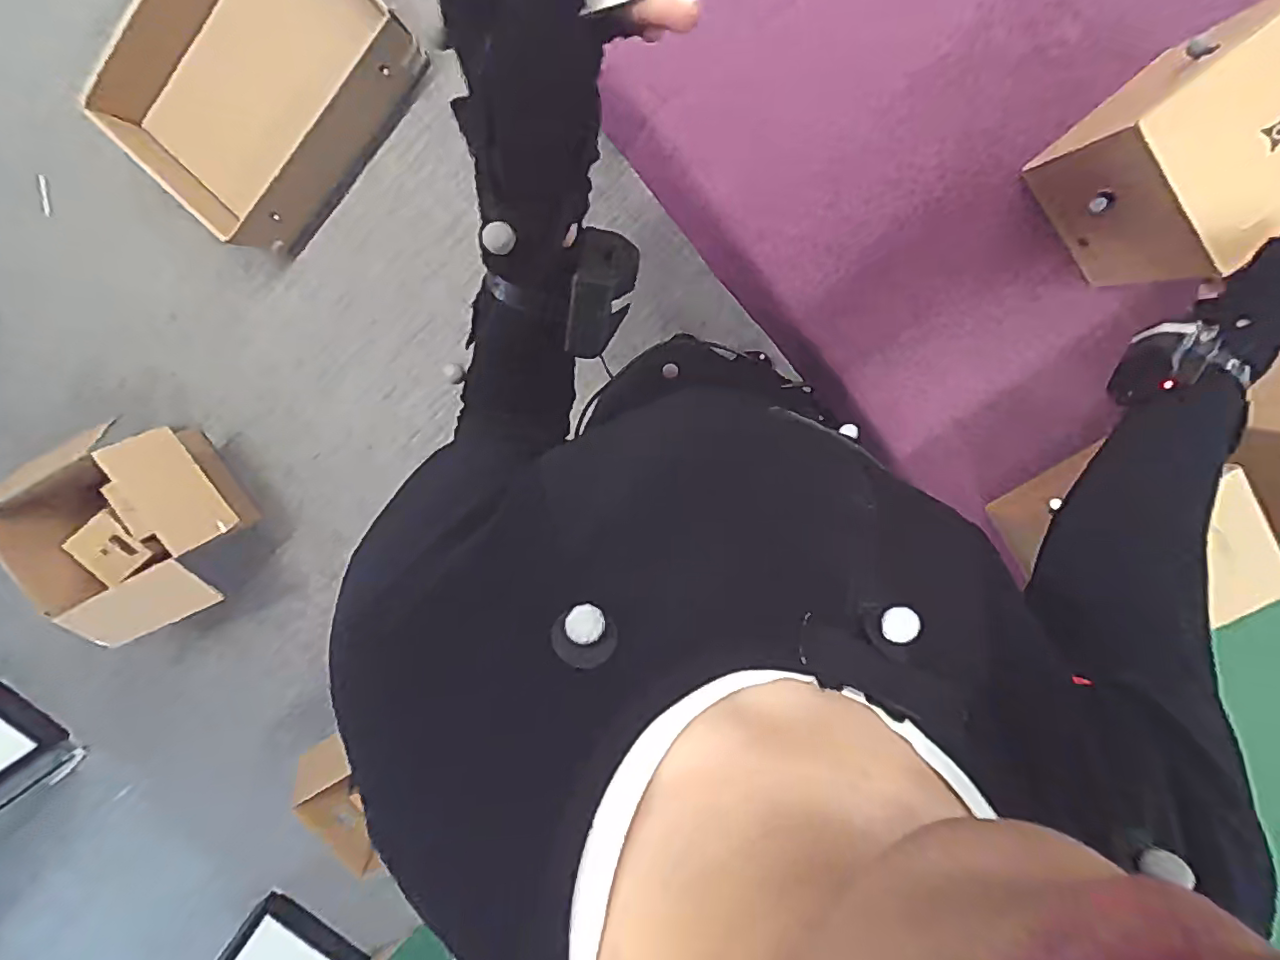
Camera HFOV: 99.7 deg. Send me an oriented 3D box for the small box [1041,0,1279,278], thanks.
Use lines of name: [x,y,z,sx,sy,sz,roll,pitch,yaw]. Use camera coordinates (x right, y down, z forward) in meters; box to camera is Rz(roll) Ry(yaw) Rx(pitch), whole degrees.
small box: [0.541,-0.319,0.524,0.179,0.176,0.168,-39,100,13]
